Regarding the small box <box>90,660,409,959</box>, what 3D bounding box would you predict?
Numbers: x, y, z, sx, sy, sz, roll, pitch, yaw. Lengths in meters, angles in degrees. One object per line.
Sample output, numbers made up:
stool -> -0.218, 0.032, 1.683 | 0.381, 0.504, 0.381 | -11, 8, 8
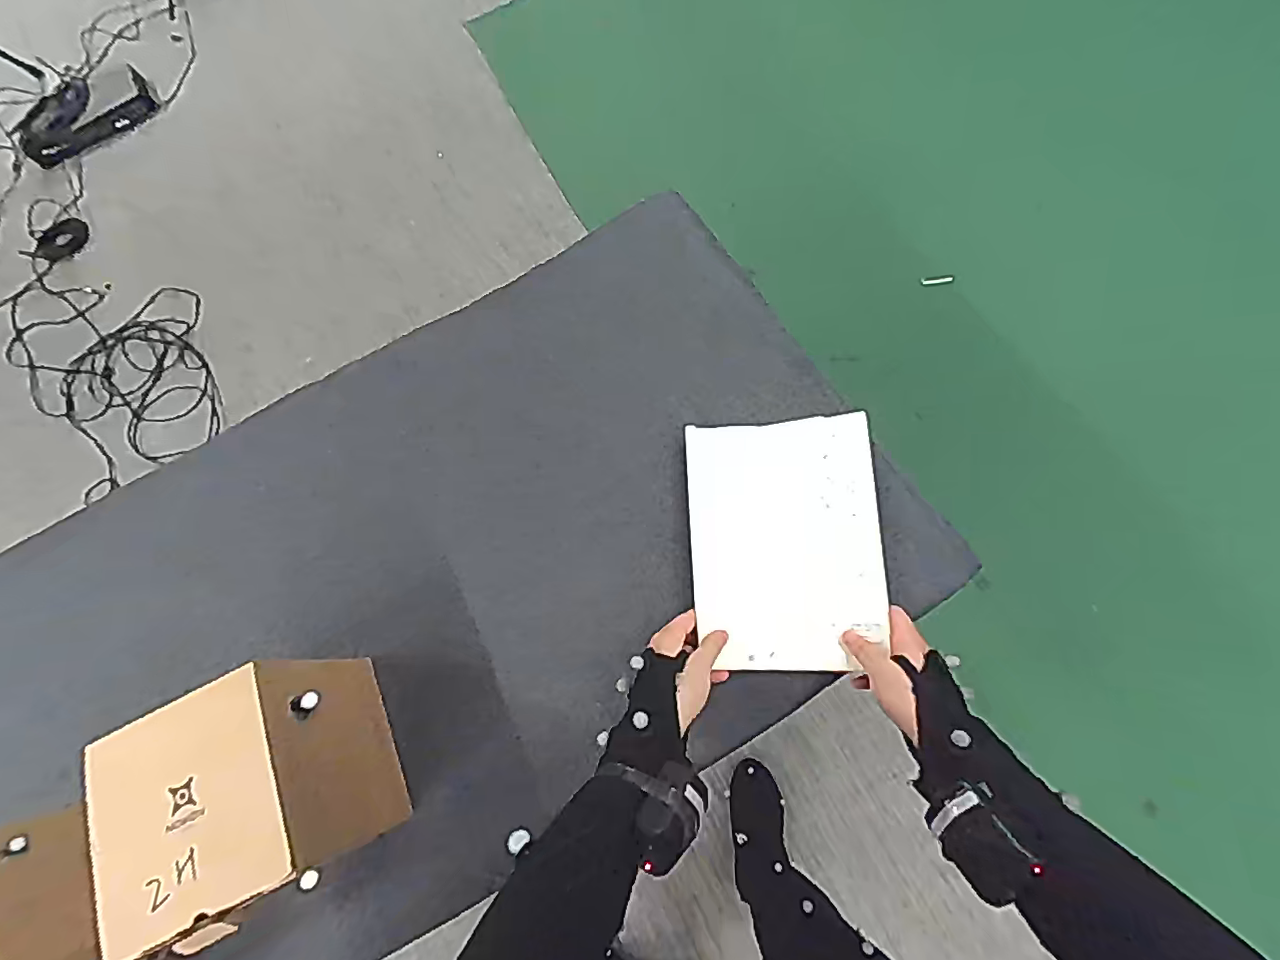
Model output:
small box -> -0.358, 0.290, 0.519 | 0.168, 0.176, 0.179 | -28, 71, 1
